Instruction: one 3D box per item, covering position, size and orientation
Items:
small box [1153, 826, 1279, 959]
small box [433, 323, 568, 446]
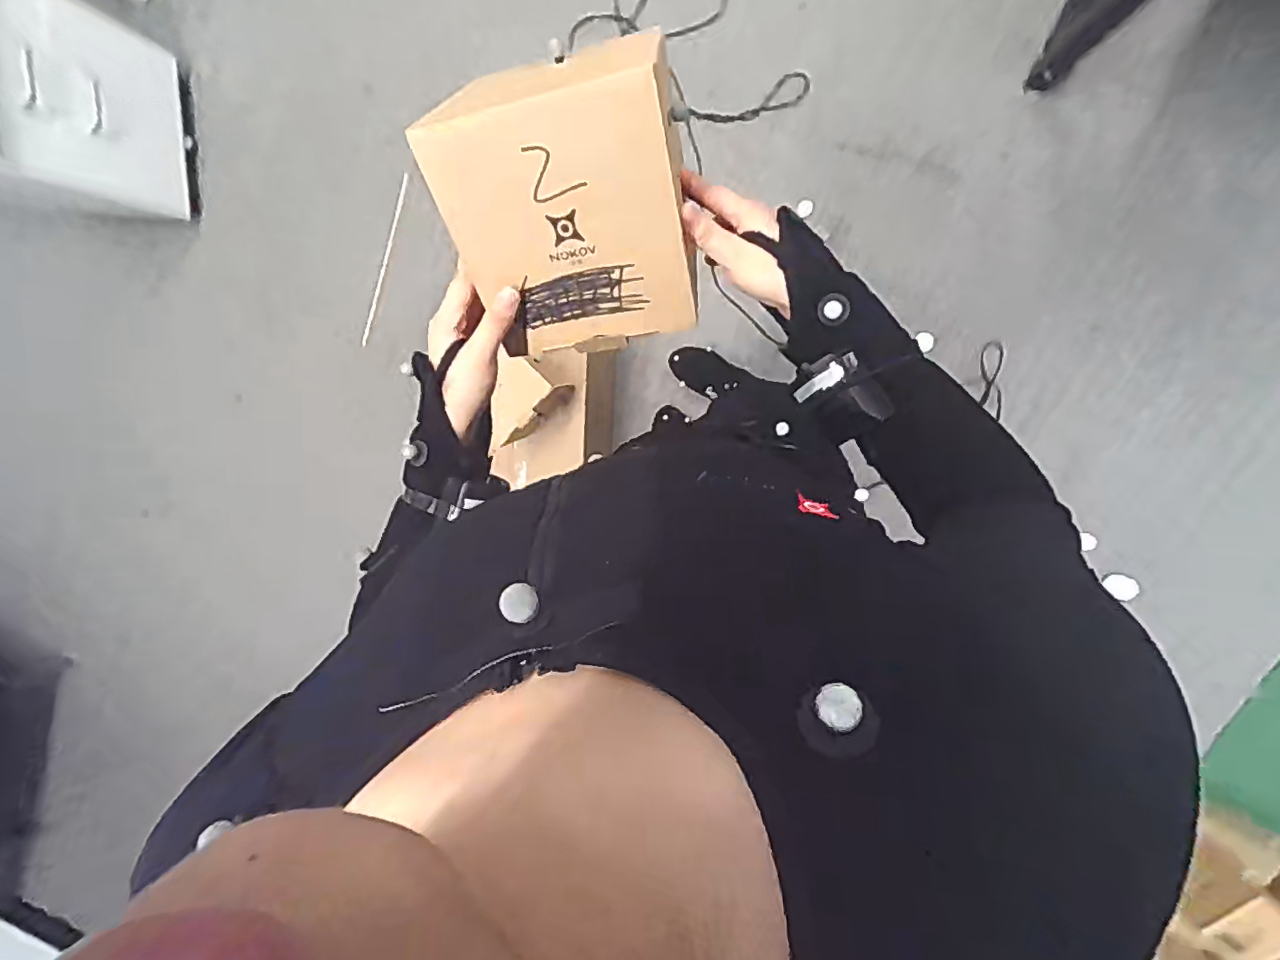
[{"bbox_3d":[1.455,1.025,1.354,0.168,0.176,0.179,40,106,0],"label":"small box"},{"bbox_3d":[-0.271,-0.197,1.097,0.179,0.176,0.168,44,104,-4],"label":"small box"}]
